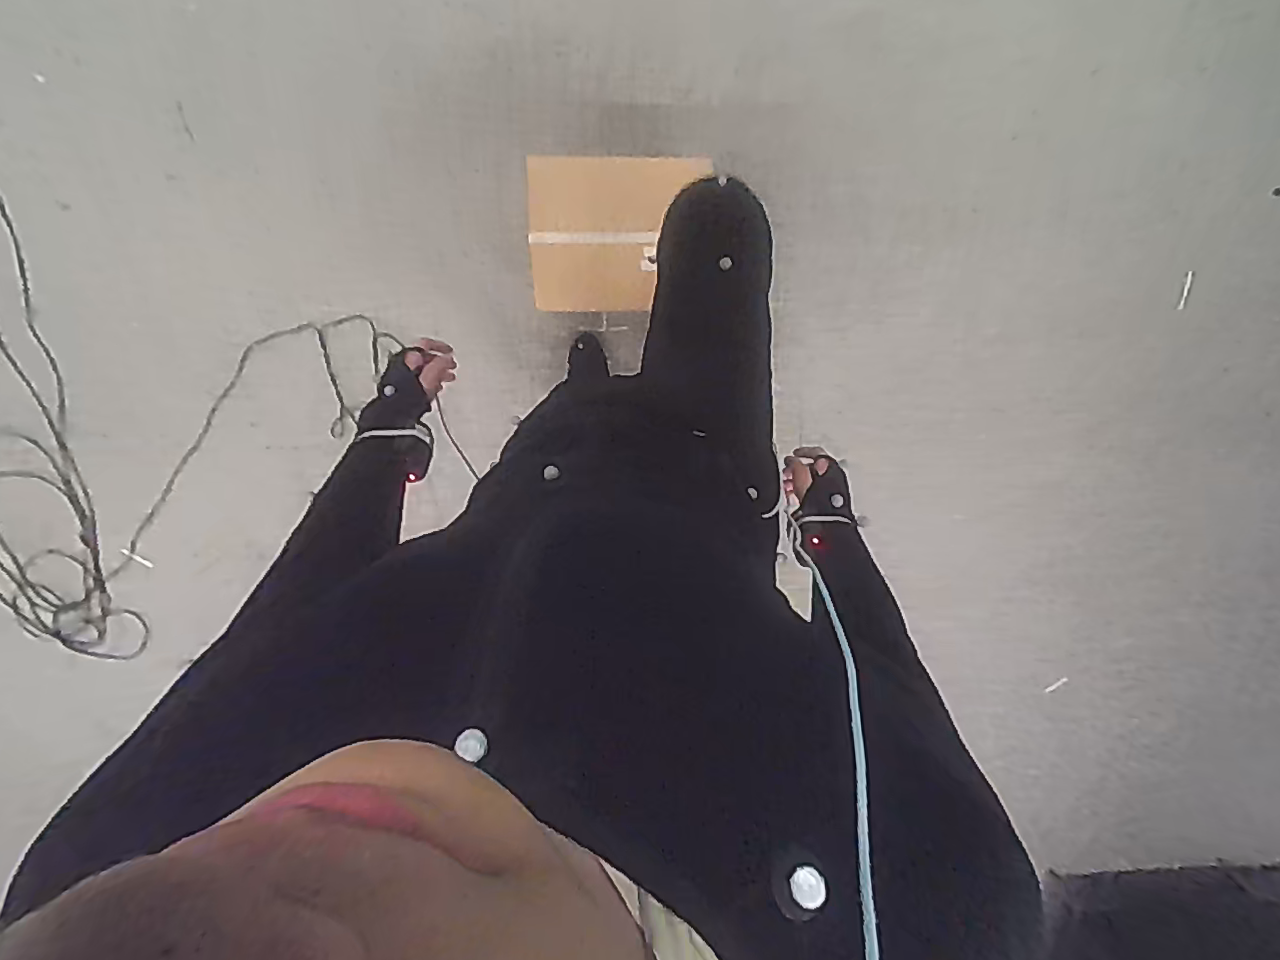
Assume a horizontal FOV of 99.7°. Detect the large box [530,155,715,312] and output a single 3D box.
[{"bbox_3d":[-0.044,-0.587,1.340,0.408,0.320,0.320,-3,108,-4],"label":"large box"}]
